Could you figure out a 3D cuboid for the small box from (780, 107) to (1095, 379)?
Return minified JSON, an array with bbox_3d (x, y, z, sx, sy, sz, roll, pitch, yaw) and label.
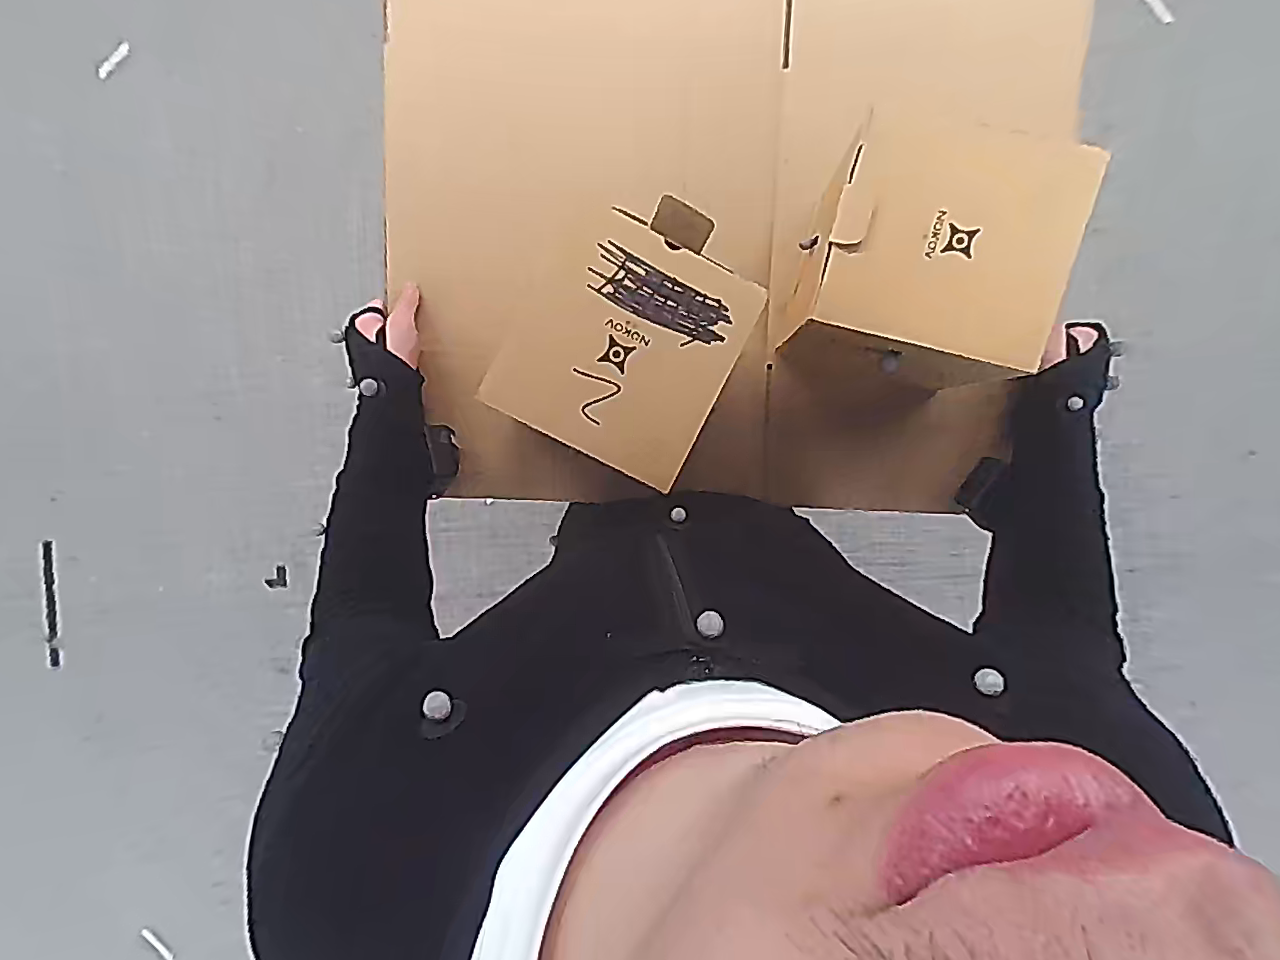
[{"bbox_3d":[0.244,-0.194,0.496,0.179,0.176,0.168,15,97,5],"label":"small box"}]
